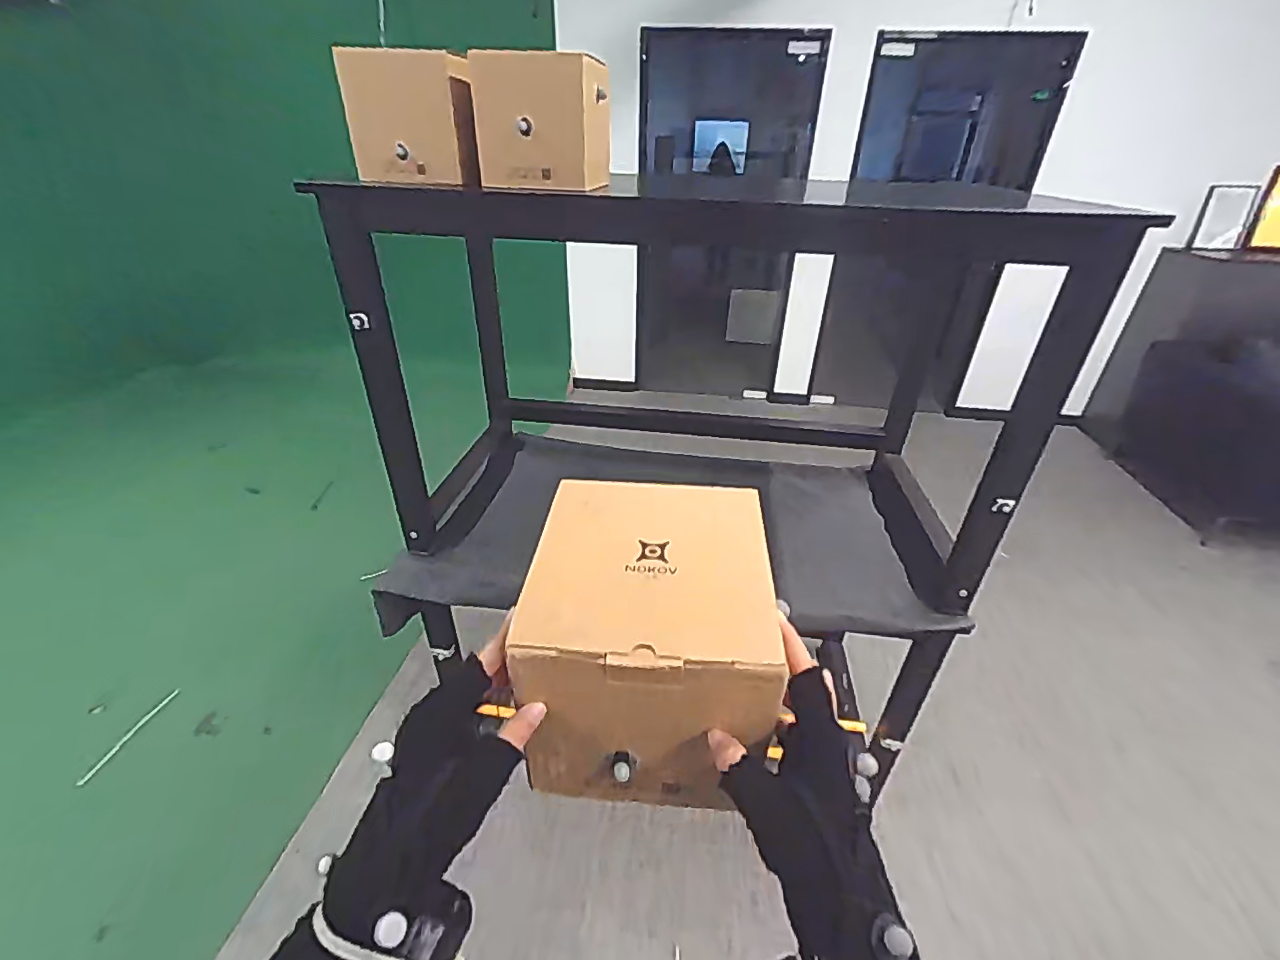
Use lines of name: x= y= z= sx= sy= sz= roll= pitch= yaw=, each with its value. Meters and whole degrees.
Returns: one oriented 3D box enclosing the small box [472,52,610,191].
small box: x=-0.141 y=-0.555 z=0.848 sx=0.168 sy=0.176 sz=0.179 roll=6 pitch=32 yaw=6
